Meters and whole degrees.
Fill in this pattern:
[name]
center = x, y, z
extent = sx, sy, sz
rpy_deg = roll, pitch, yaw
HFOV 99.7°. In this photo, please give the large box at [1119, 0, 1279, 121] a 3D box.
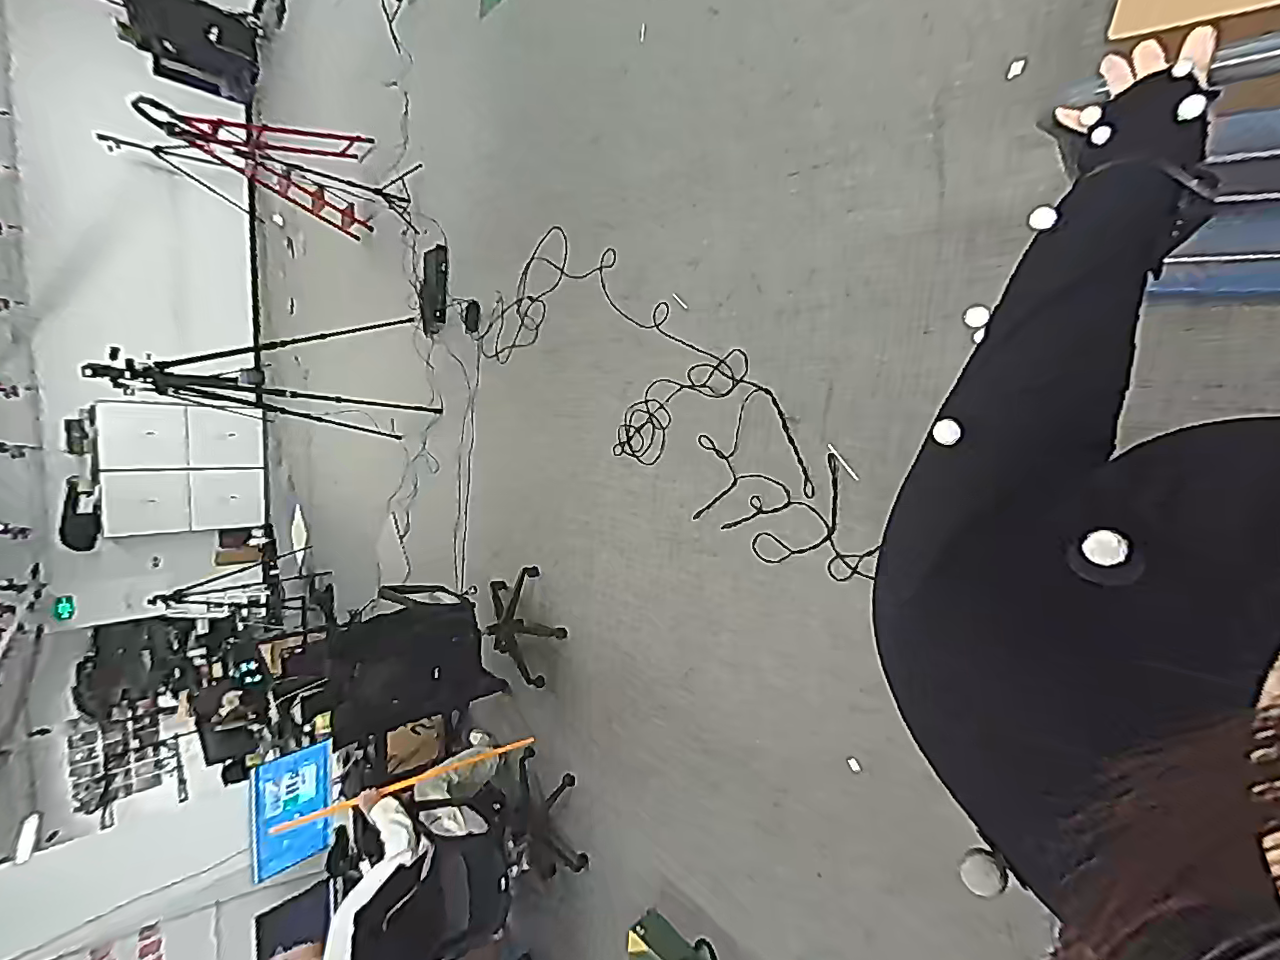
[large box]
center = 0.961, -0.752, 0.733
extent = 0.408, 0.320, 0.320
rpy_deg = 21, 107, 42
